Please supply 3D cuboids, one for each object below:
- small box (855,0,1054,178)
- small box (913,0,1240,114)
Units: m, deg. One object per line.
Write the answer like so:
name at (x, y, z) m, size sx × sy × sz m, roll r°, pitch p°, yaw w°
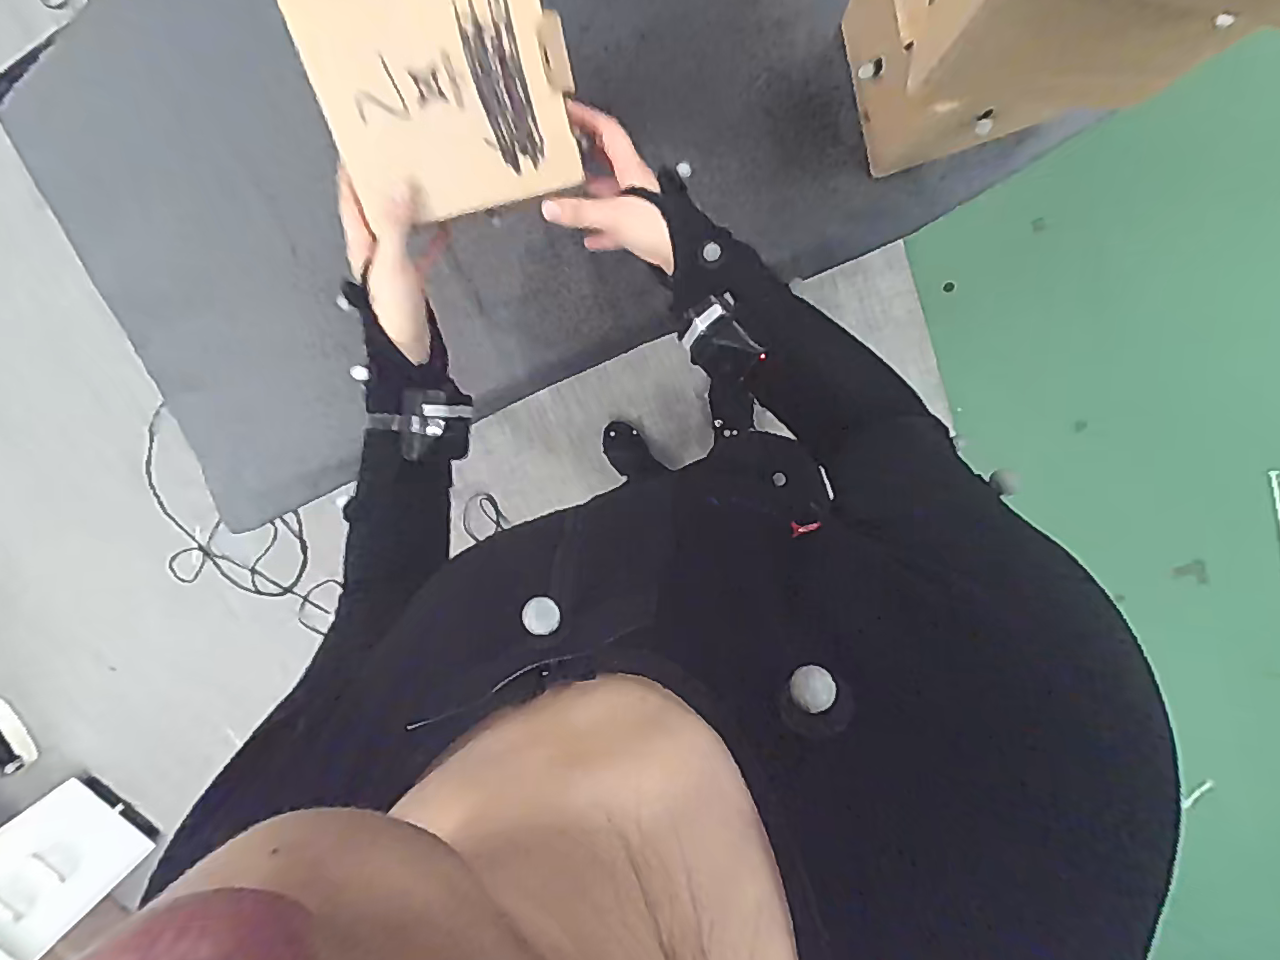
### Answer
small box at (0.311, -0.409, 0.495) m, size 0.179 × 0.176 × 0.168 m, roll -15°, pitch 100°, yaw 11°
small box at (0.299, -0.358, 0.340) m, size 0.179 × 0.176 × 0.168 m, roll 6°, pitch 103°, yaw 6°
